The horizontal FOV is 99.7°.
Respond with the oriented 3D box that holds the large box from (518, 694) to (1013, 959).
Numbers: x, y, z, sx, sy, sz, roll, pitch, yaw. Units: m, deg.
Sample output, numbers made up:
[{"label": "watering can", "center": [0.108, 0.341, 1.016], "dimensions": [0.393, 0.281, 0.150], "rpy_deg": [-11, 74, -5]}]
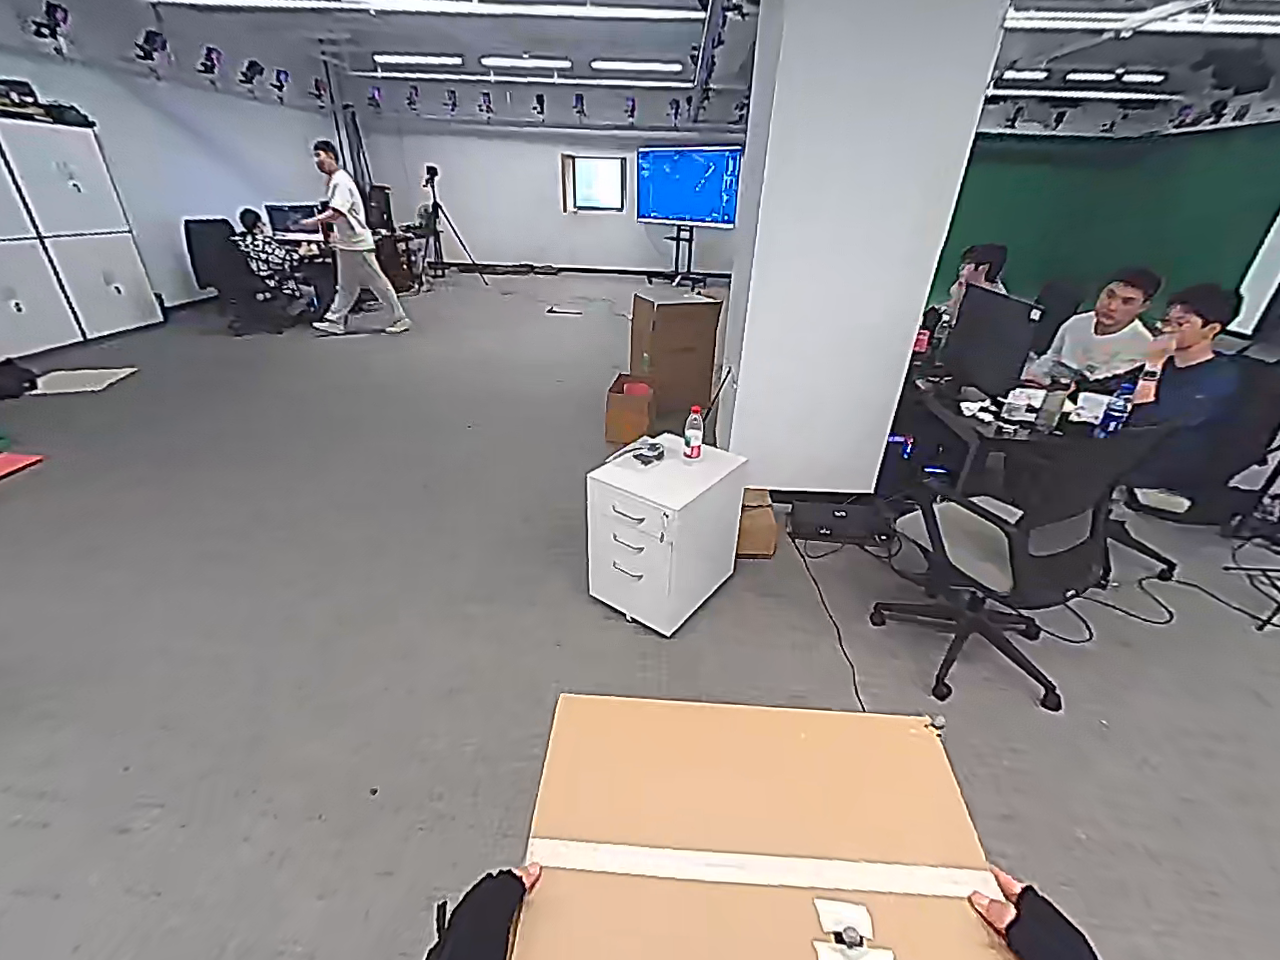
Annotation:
[{"label": "large box", "center": [0.102, 0.462, 0.572], "dimensions": [0.408, 0.320, 0.320], "rpy_deg": [3, 37, 3]}]
